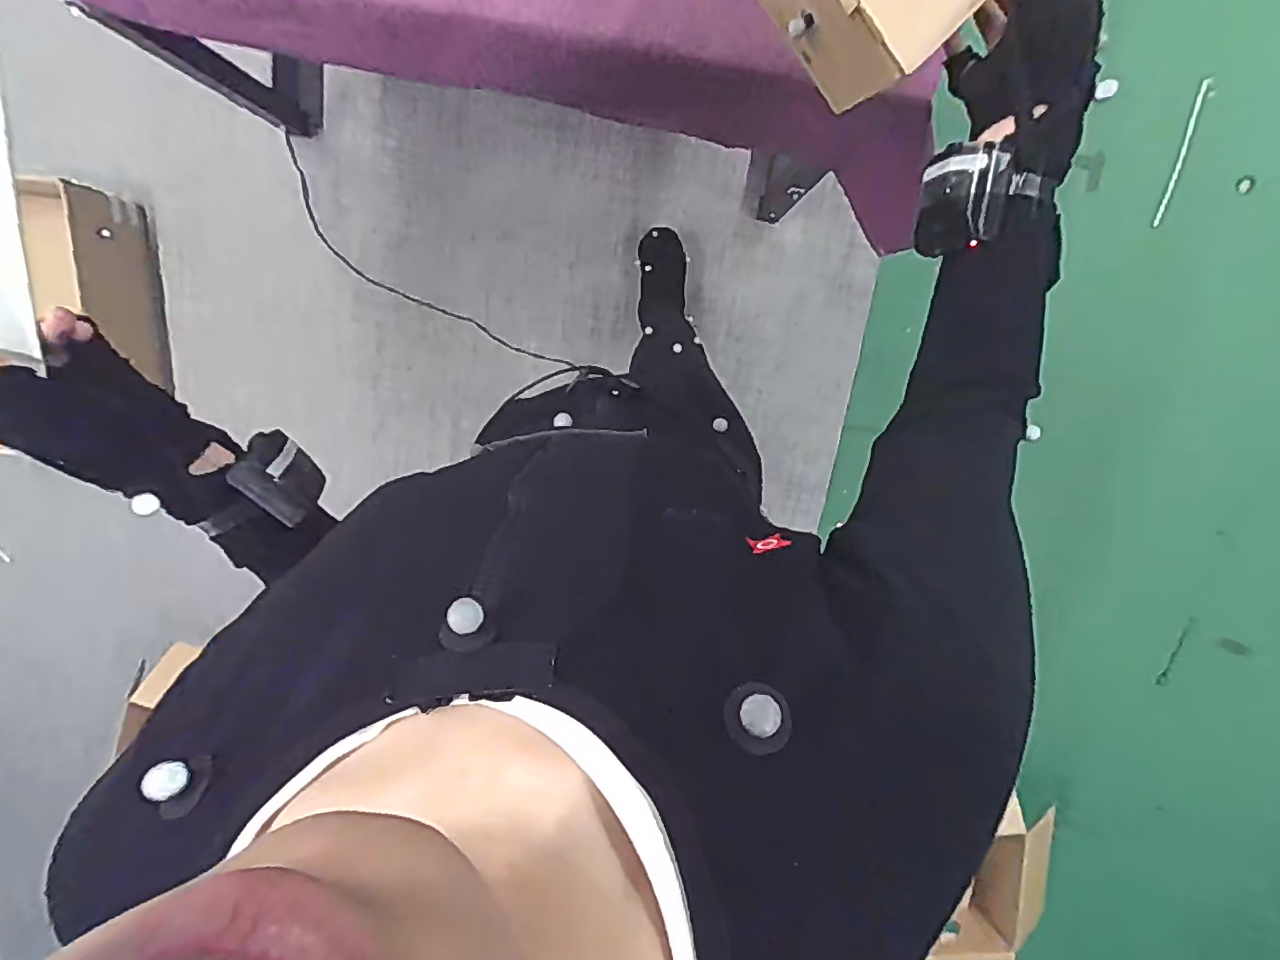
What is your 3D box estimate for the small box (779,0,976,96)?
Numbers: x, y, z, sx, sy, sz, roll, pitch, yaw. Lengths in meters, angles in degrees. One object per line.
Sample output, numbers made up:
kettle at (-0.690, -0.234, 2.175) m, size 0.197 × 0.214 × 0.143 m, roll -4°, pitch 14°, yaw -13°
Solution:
small box at (0.205, -0.443, 0.419) m, size 0.179 × 0.176 × 0.168 m, roll -40°, pitch 109°, yaw 21°
